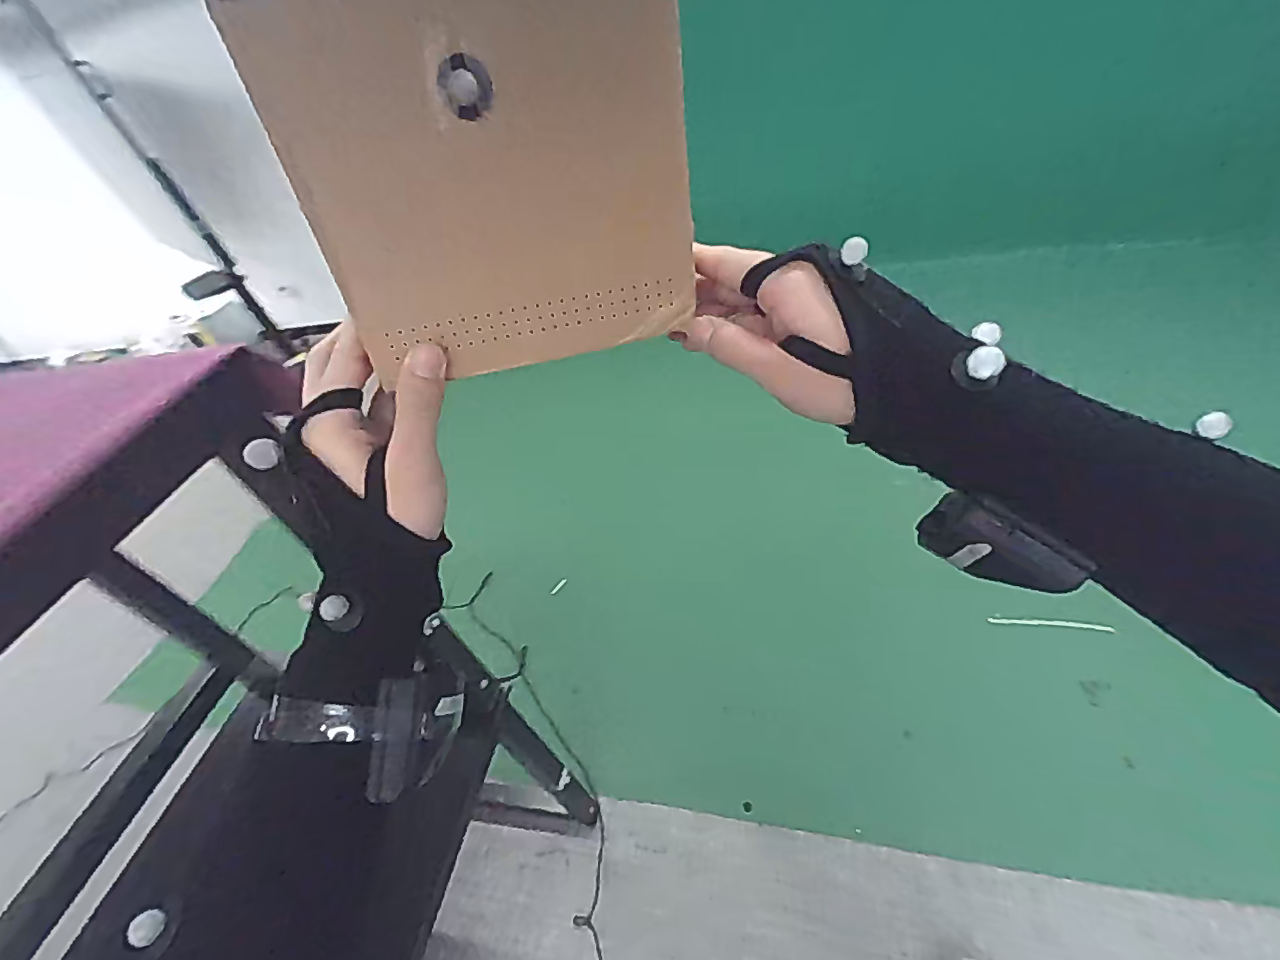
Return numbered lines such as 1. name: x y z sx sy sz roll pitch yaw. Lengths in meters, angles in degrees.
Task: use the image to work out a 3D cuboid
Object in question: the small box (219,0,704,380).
1. small box: -0.070 -0.172 0.308 0.179 0.176 0.168 -11 37 -4
